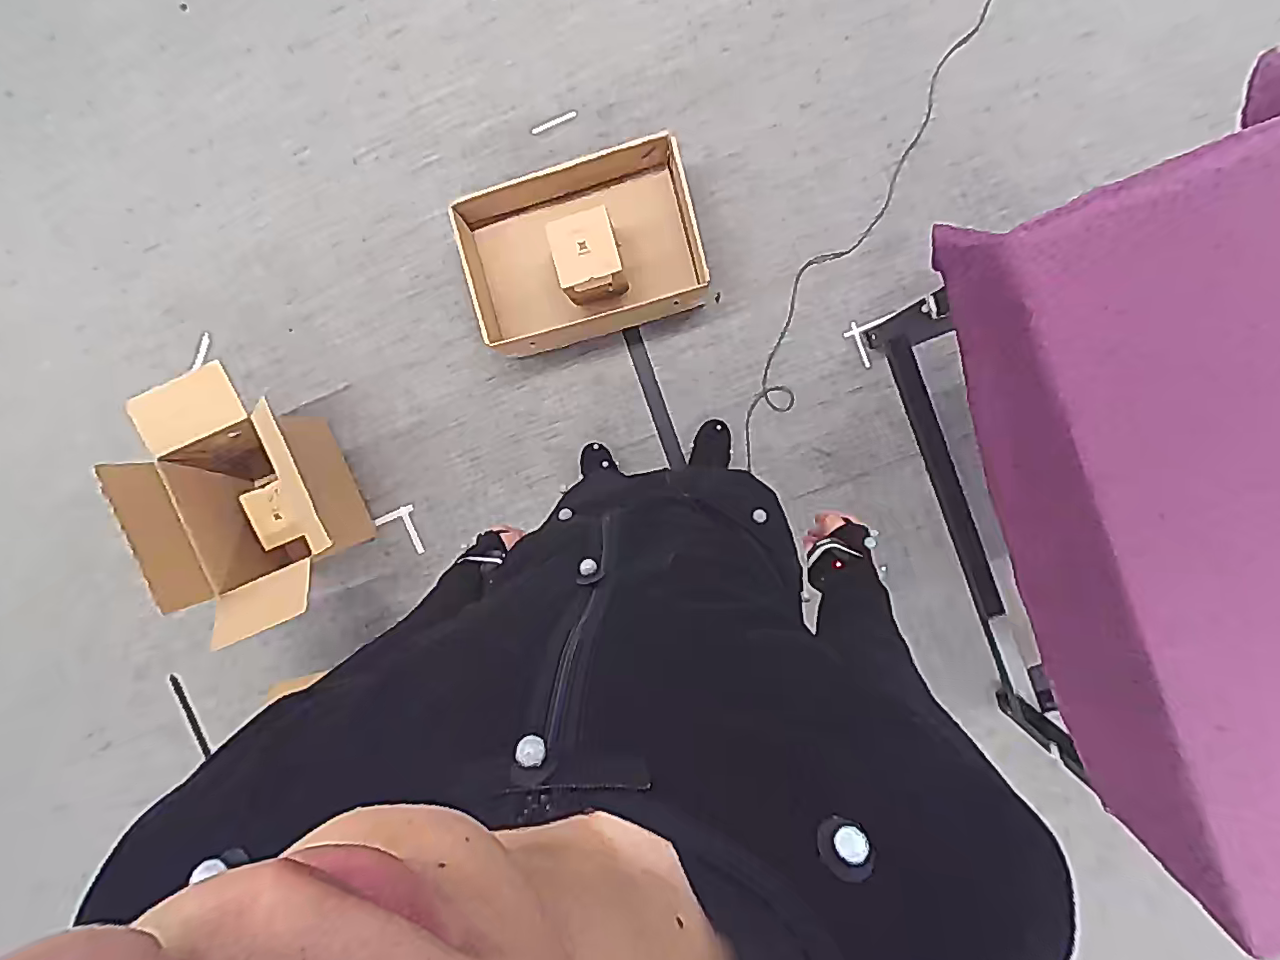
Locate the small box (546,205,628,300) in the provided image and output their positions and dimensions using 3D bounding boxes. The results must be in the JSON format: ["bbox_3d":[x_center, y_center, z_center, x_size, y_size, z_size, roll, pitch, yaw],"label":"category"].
[{"bbox_3d":[-0.135,-0.597,1.451,0.168,0.176,0.179,-15,93,6],"label":"small box"}]
